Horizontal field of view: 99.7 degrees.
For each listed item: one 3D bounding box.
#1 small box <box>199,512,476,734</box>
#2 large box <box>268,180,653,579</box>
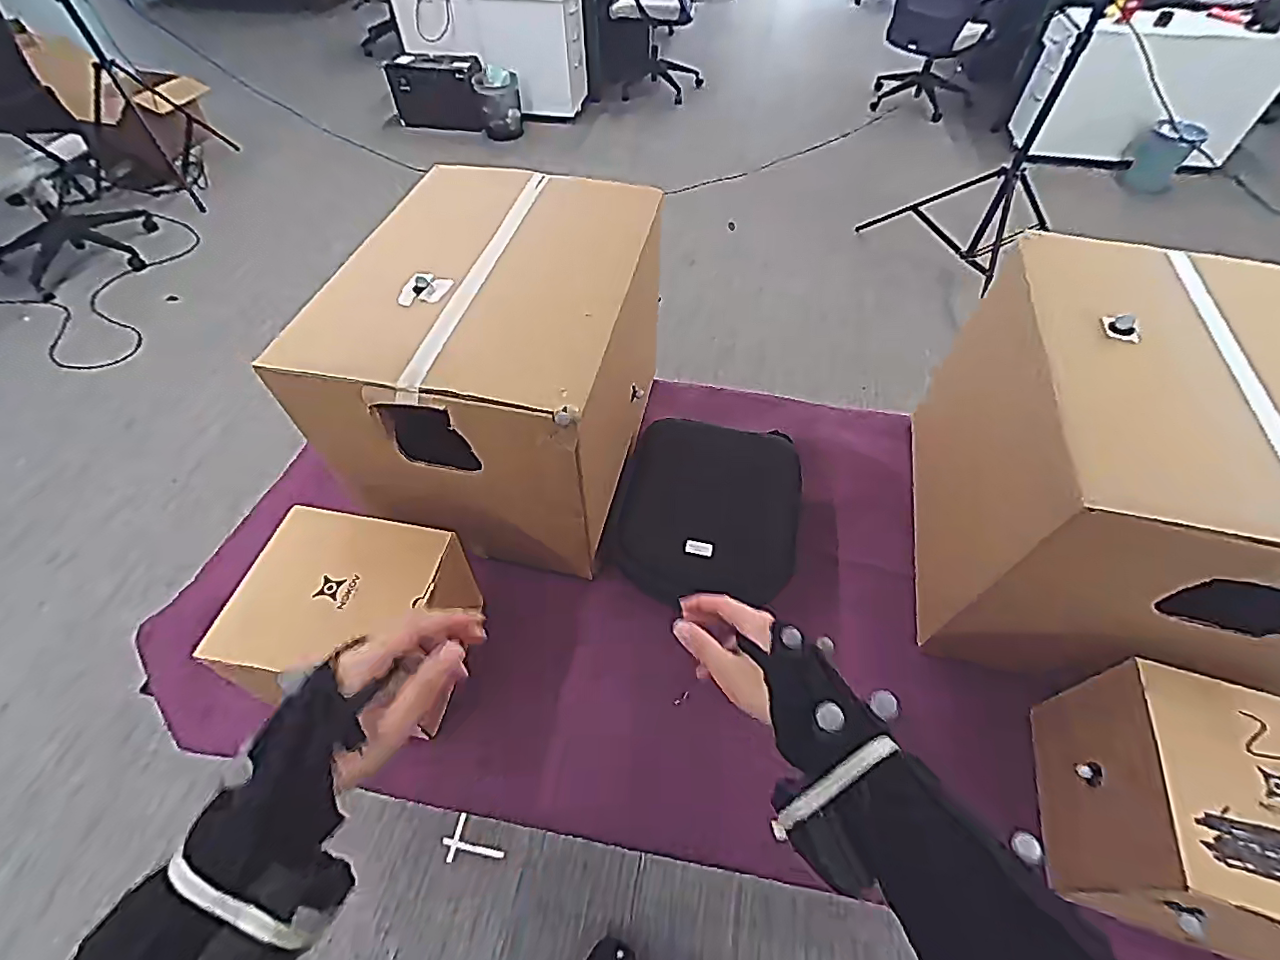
[{"bbox_3d":[-0.298,0.158,0.582,0.179,0.176,0.168,9,52,2],"label":"small box"},{"bbox_3d":[-0.168,-0.133,0.722,0.320,0.320,0.408,9,56,7],"label":"large box"}]
